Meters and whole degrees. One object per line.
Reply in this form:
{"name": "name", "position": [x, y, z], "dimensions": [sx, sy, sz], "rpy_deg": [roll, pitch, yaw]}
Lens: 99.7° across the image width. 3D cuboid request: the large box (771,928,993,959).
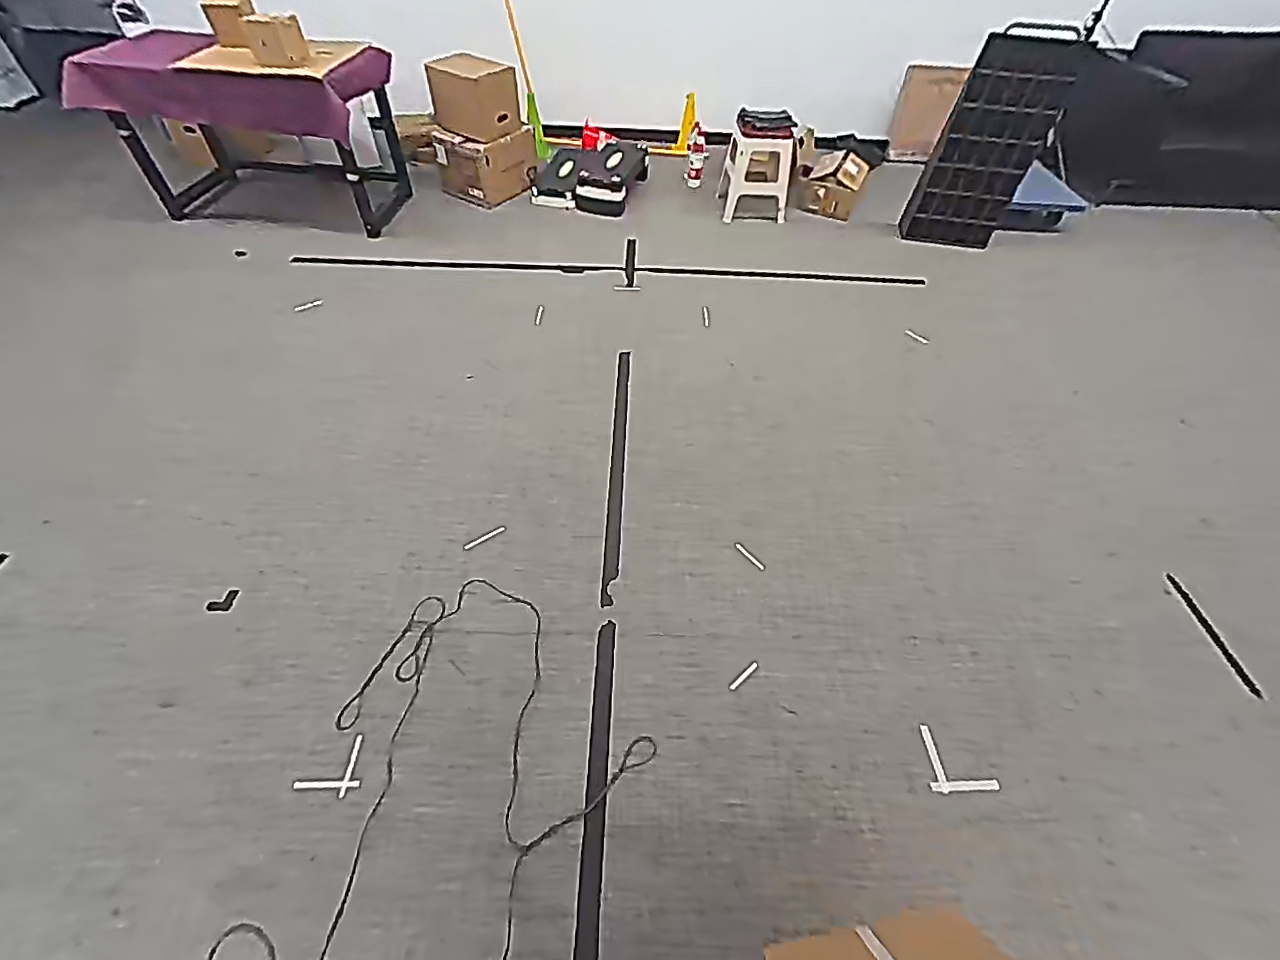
{"name": "large box", "position": [0.371, 0.809, 0.599], "dimensions": [0.320, 0.408, 0.320], "rpy_deg": [-6, 79, -5]}
